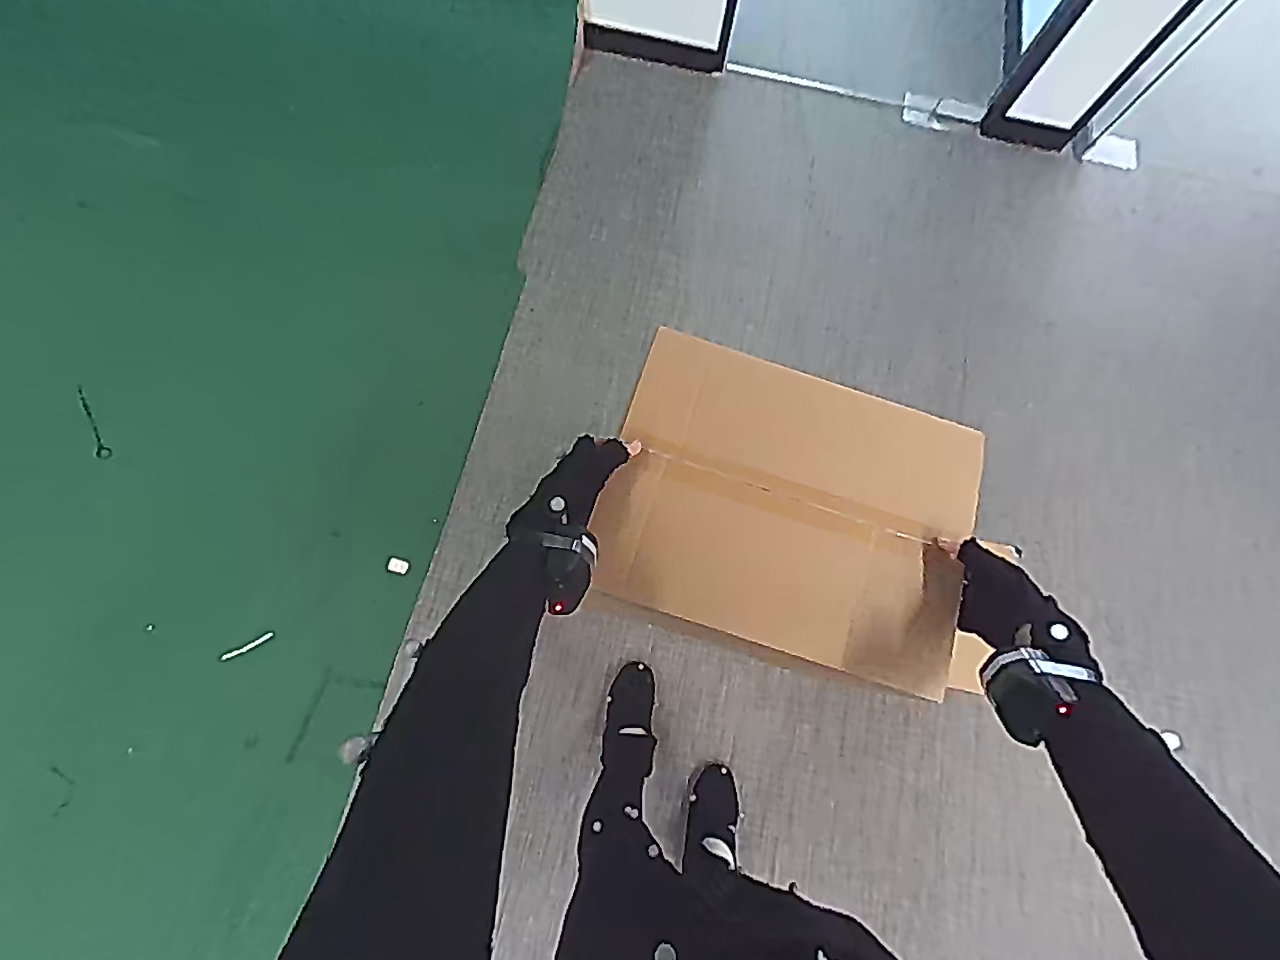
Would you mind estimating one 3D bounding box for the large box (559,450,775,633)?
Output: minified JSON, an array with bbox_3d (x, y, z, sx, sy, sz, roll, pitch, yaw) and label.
[{"bbox_3d":[0.059,0.158,1.256,0.408,0.320,0.320,14,74,1],"label":"large box"}]
